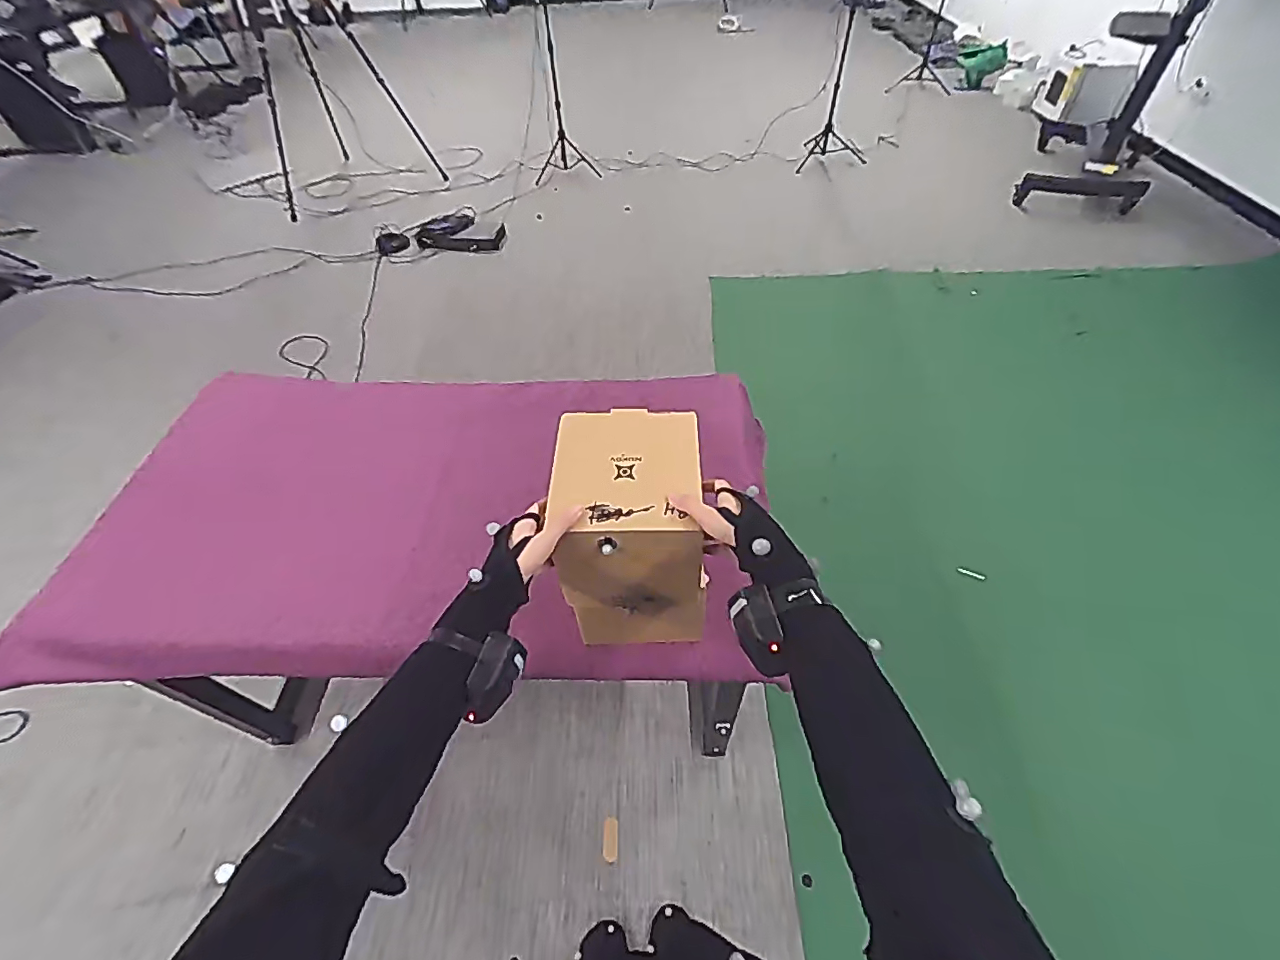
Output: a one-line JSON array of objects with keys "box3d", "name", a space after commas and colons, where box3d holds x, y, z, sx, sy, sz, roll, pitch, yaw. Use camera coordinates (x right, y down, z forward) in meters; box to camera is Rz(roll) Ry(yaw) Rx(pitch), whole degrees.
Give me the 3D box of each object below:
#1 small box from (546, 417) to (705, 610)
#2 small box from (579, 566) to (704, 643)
[{"box3d": [-0.009, 0.041, 0.664, 0.168, 0.176, 0.179, -1, 50, 4], "name": "small box"}, {"box3d": [0.000, 0.132, 0.801, 0.179, 0.176, 0.168, -2, 50, 1], "name": "small box"}]
